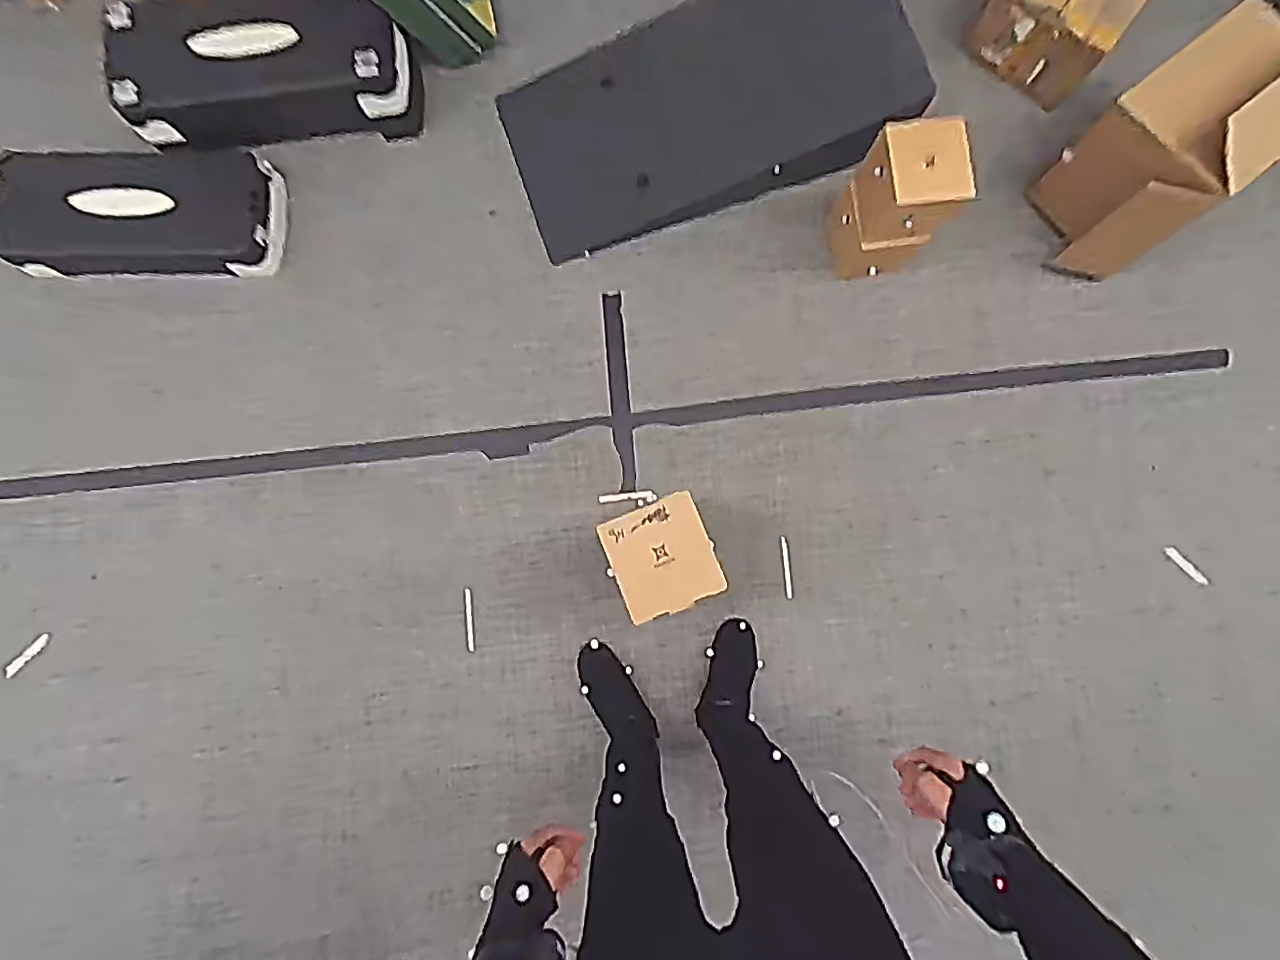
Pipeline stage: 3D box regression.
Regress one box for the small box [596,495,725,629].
[{"bbox_3d":[0.033,0.136,0.954,0.168,0.176,0.179,-21,86,-3],"label":"small box"}]
